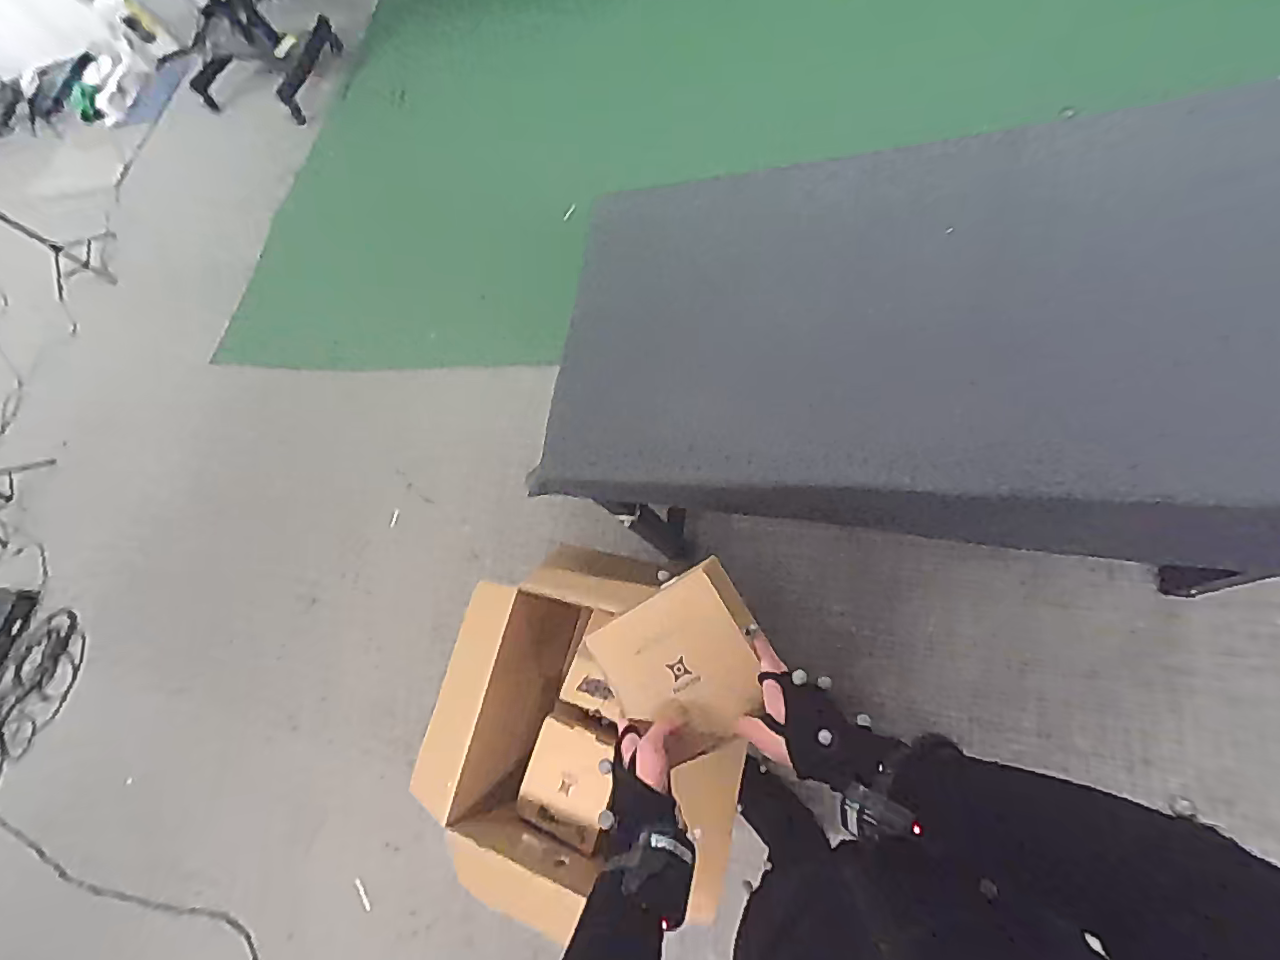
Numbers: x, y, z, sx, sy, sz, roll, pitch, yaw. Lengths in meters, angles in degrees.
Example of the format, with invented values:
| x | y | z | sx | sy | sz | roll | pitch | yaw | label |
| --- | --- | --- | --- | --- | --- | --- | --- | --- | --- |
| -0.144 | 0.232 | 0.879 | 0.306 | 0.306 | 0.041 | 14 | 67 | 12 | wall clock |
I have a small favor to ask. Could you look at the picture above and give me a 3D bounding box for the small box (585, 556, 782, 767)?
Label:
| x | y | z | sx | sy | sz | roll | pitch | yaw | label |
| --- | --- | --- | --- | --- | --- | --- | --- | --- | --- |
| 0.062 | 0.212 | 0.682 | 0.168 | 0.176 | 0.179 | -33 | 80 | 9 | small box |
